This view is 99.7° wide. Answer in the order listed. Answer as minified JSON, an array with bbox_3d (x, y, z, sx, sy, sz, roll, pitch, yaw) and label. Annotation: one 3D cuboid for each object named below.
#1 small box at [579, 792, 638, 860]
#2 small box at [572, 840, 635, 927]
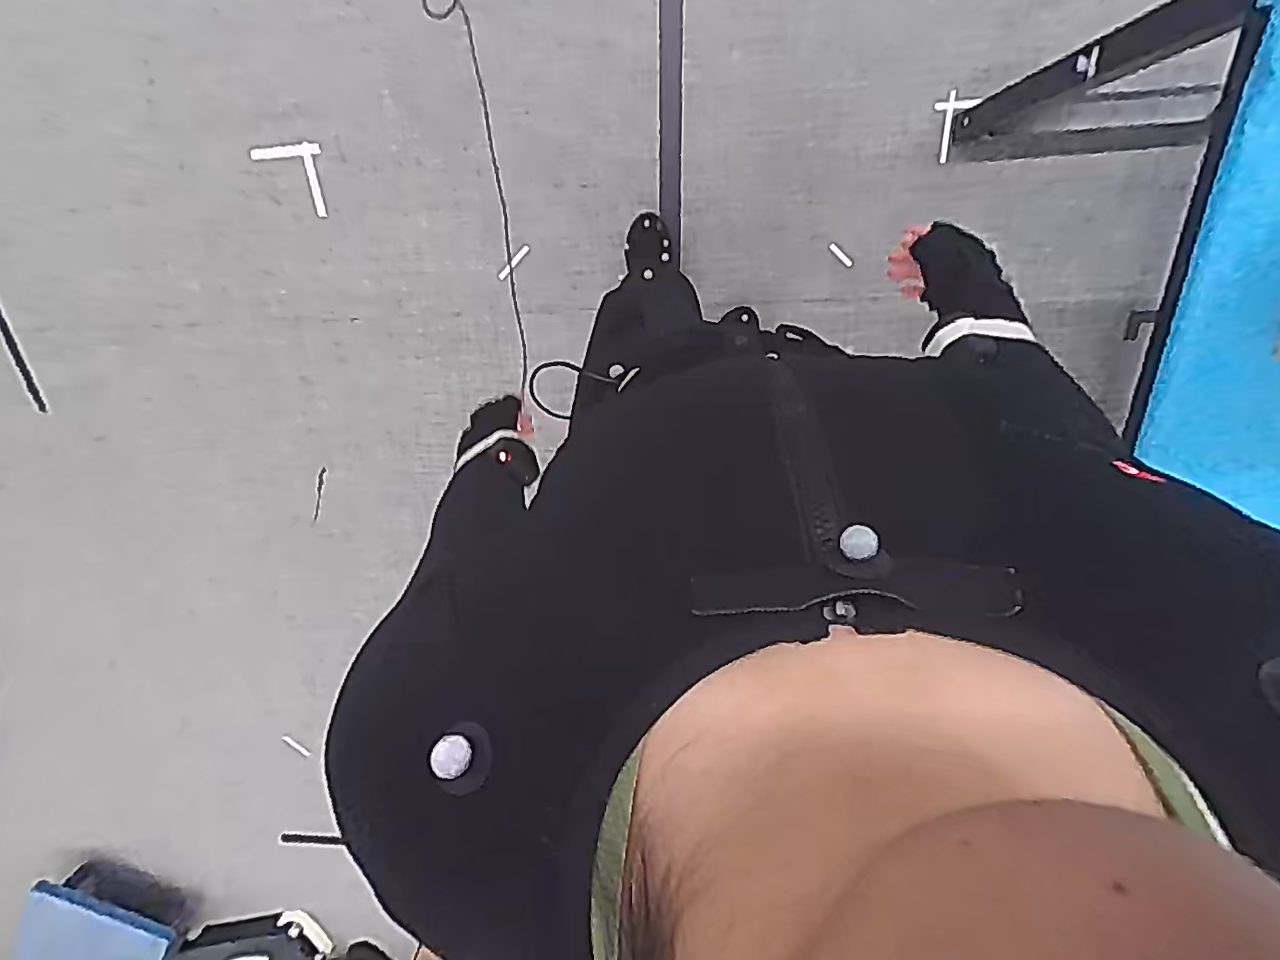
[{"bbox_3d":[-0.111,1.298,2.006,0.179,0.176,0.168,16,114,0],"label":"small box"},{"bbox_3d":[-0.122,1.386,1.865,0.179,0.176,0.168,14,113,1],"label":"small box"}]
